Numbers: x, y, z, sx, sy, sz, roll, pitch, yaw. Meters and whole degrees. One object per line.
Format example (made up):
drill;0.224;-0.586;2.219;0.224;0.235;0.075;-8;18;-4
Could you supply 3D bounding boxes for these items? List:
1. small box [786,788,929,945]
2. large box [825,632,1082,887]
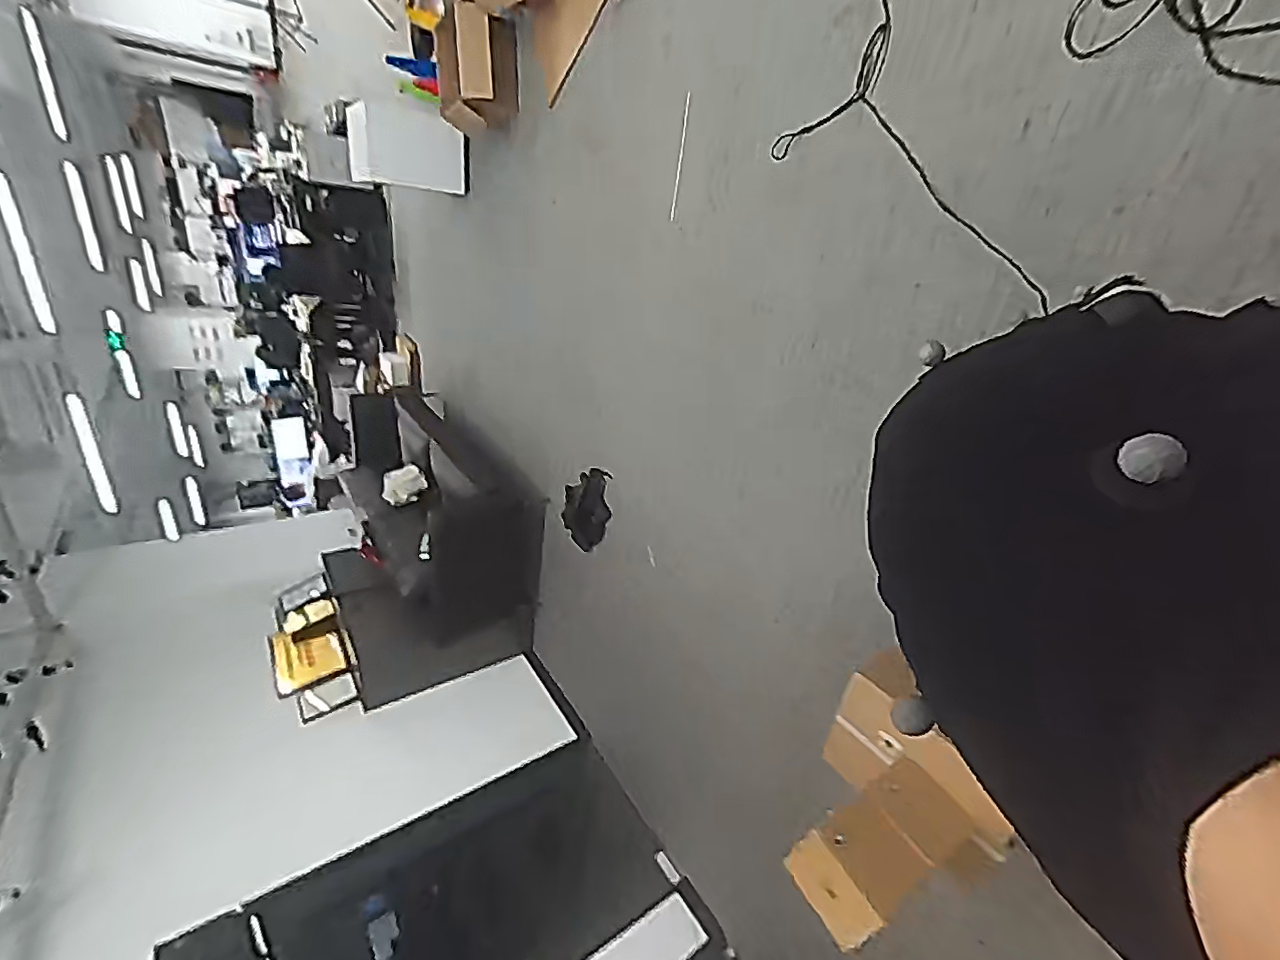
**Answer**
small box;0.439;0.773;1.094;0.179;0.176;0.168;48;135;39
large box;0.750;0.652;1.334;0.408;0.320;0.320;37;127;45
